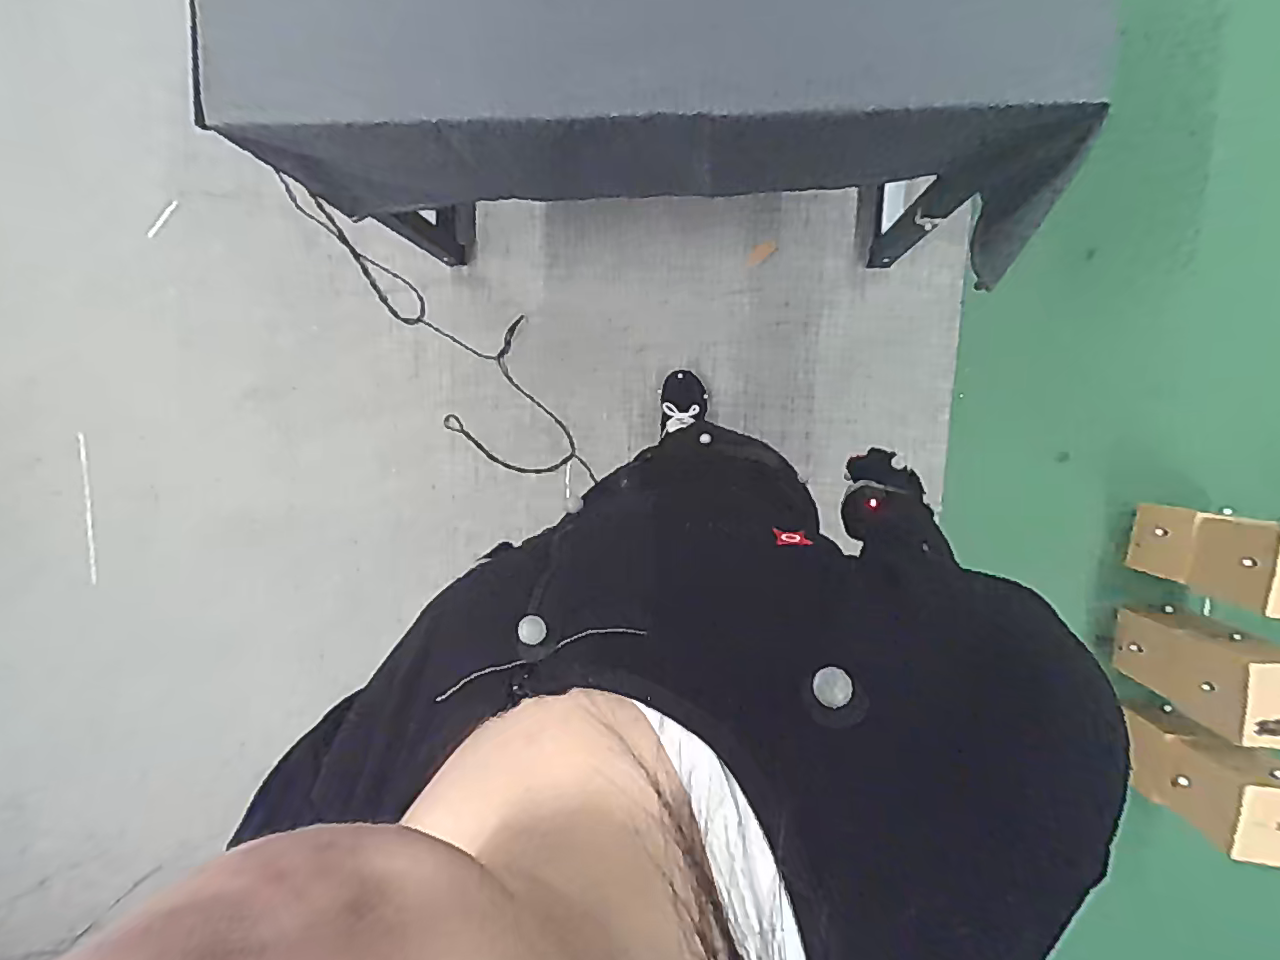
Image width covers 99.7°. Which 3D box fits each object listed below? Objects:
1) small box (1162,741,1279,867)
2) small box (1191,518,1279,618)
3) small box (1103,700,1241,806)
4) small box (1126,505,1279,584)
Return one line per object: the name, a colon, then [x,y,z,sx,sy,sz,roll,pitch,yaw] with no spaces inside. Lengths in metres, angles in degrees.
small box: [1.294,0.687,1.157,0.179,0.176,0.168,5,96,5]
small box: [1.300,0.180,1.108,0.168,0.176,0.179,7,95,5]
small box: [1.286,0.671,1.321,0.168,0.176,0.179,6,95,5]
small box: [1.308,0.156,1.272,0.179,0.176,0.168,8,96,5]
